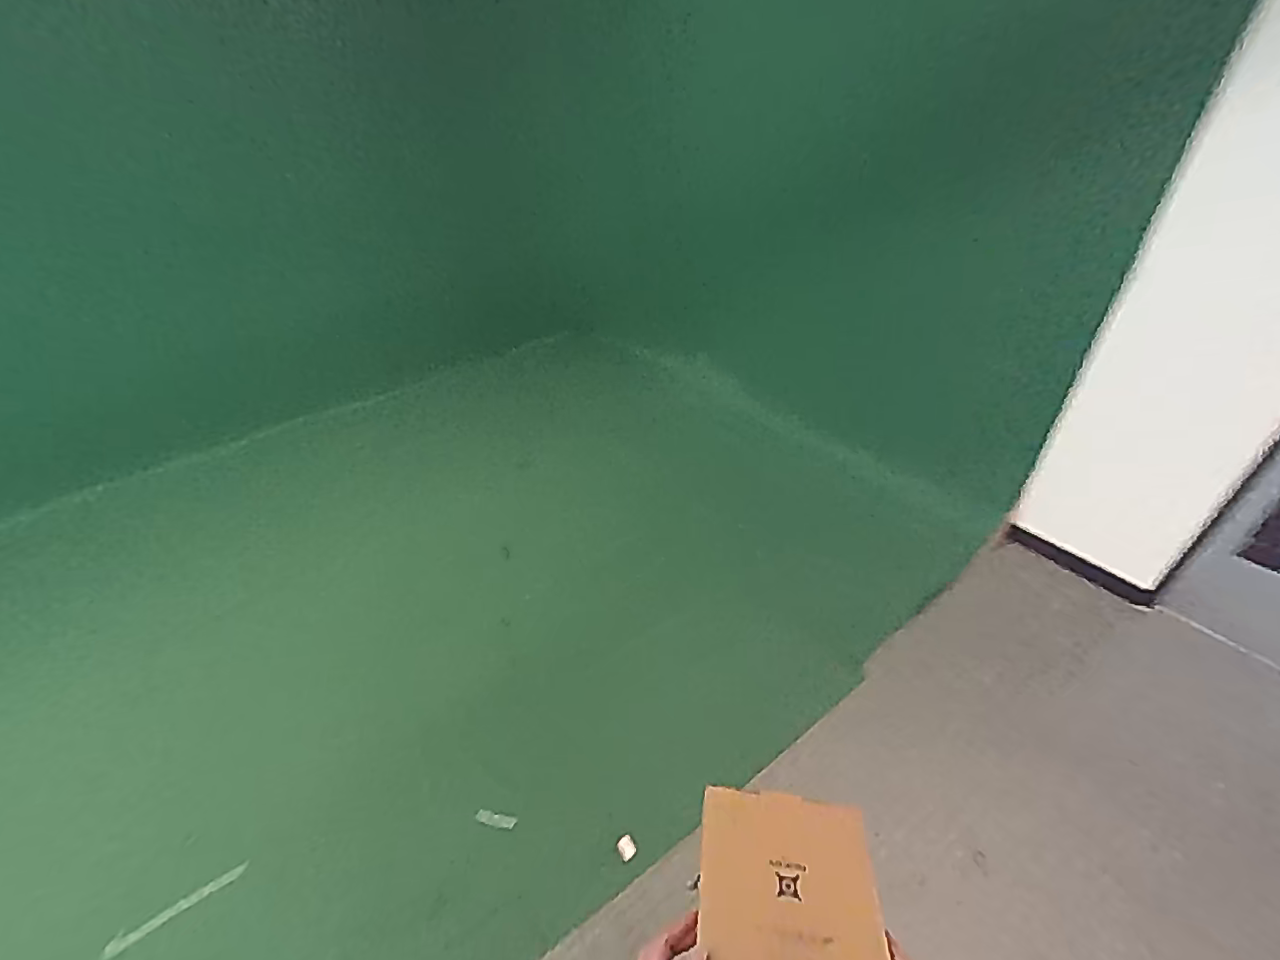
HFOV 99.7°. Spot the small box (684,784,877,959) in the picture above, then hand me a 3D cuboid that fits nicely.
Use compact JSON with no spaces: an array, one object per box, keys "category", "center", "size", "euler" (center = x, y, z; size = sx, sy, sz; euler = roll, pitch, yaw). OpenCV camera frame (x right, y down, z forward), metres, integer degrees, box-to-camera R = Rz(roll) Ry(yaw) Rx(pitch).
[{"category":"small box","center":[0.132,0.454,0.552],"size":[0.168,0.176,0.179],"euler":[2,28,9]}]
